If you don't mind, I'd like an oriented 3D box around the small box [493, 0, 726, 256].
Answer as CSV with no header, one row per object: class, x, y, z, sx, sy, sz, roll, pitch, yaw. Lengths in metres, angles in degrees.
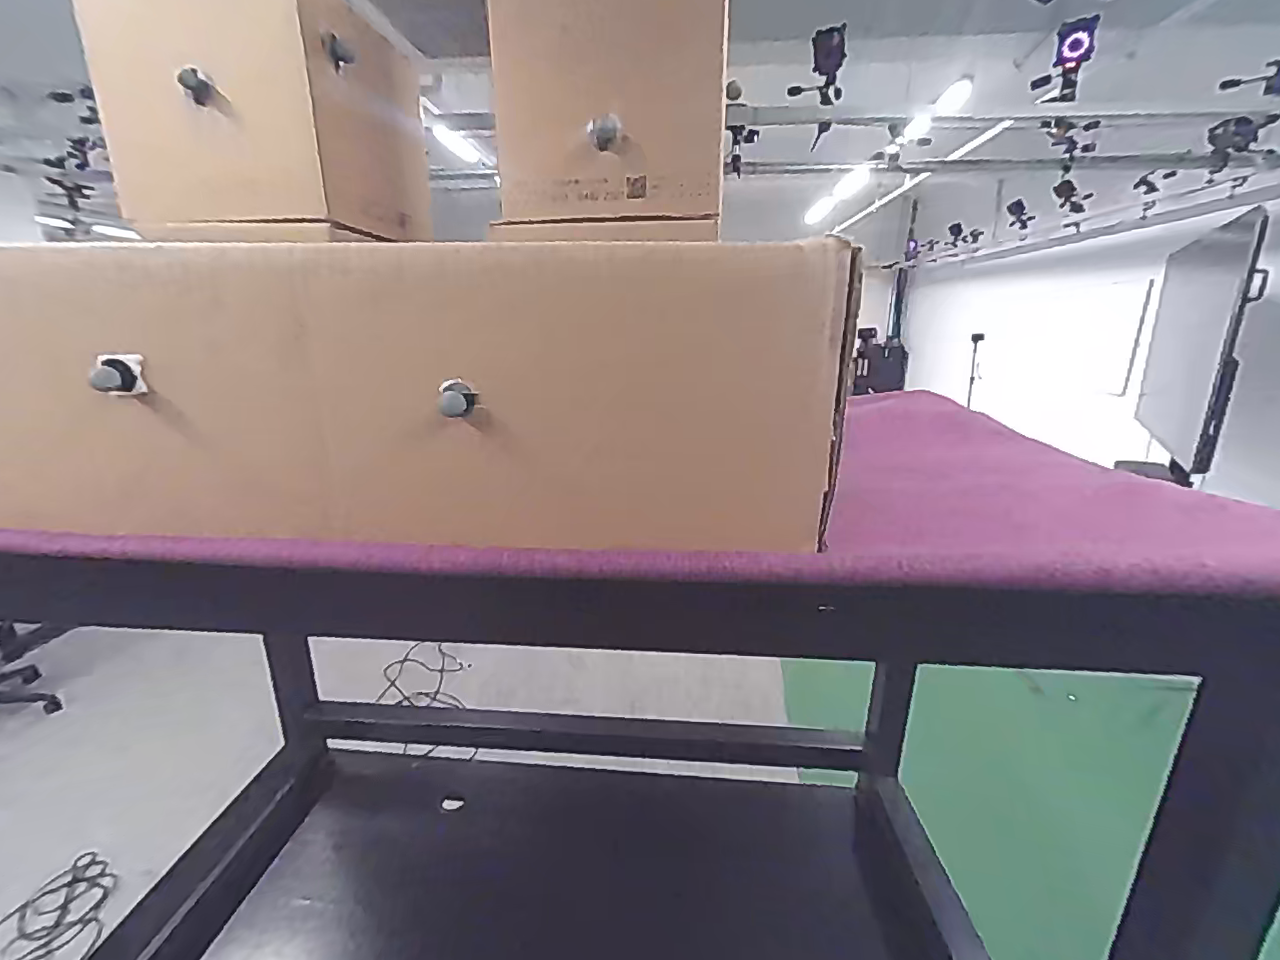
small box,-0.014,-0.290,0.460,0.168,0.176,0.179,1,16,7
